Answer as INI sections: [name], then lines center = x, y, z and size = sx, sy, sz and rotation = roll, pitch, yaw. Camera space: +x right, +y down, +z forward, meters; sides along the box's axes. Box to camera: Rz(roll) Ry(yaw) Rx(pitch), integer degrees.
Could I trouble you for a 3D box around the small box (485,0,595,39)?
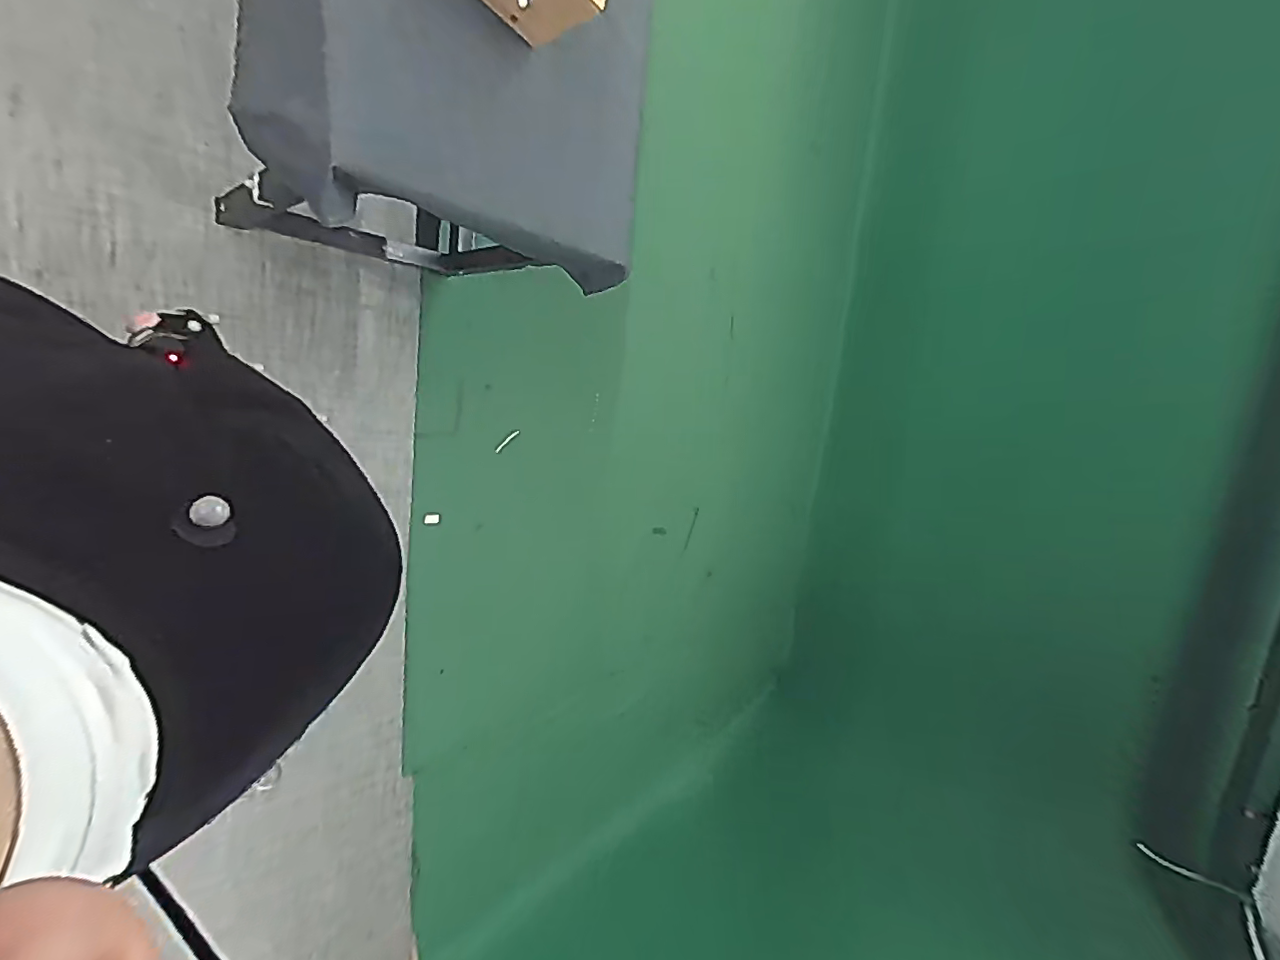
[small box]
center = -0.168, -0.831, 0.824
size = 0.168, 0.176, 0.179
rotation = 8, 95, -51
